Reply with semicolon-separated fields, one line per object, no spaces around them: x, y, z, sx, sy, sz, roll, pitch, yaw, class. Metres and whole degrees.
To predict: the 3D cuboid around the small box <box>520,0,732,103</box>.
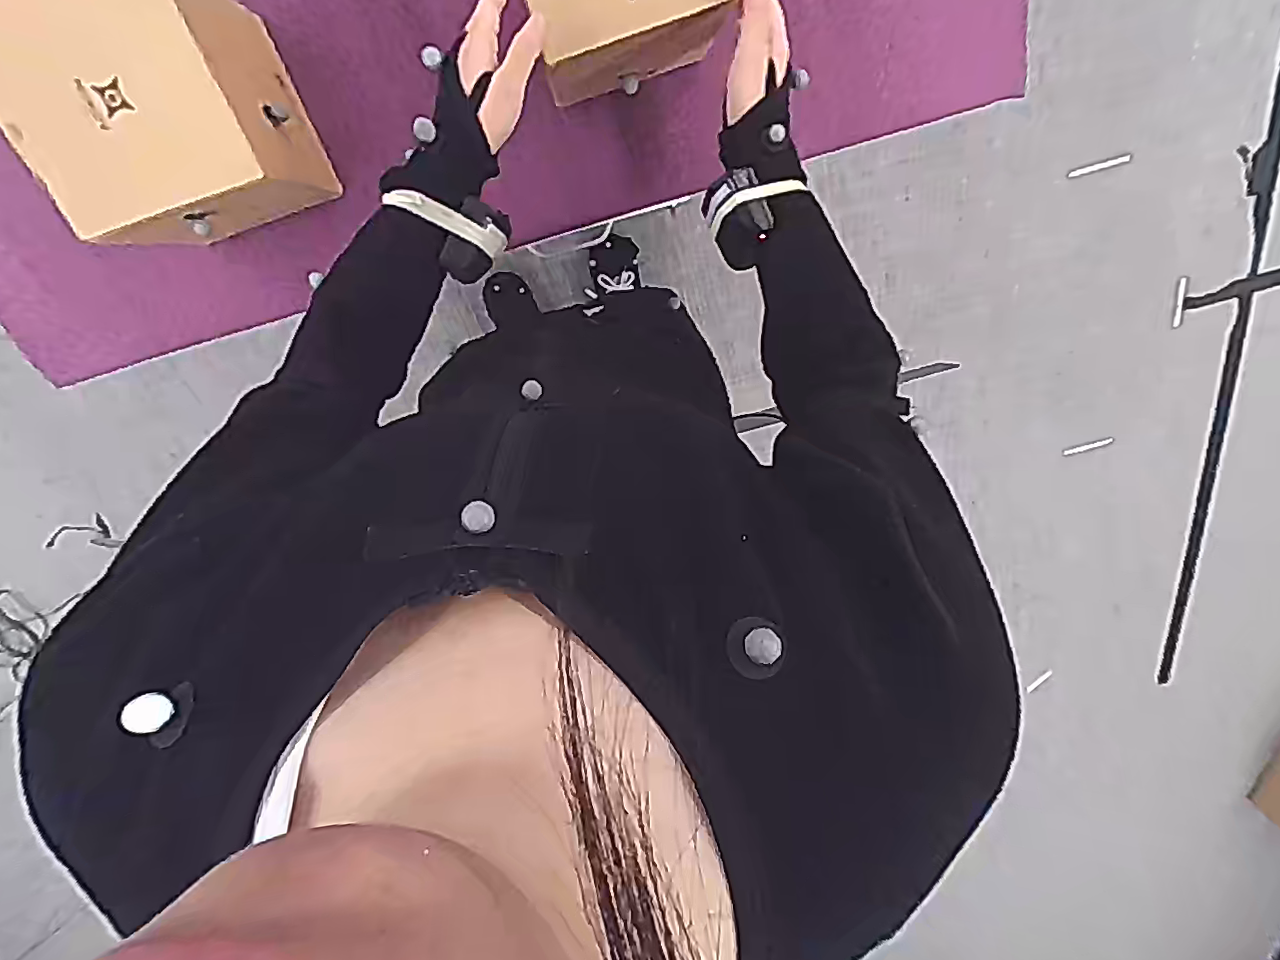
-0.033;-0.470;0.475;0.168;0.176;0.179;-17;115;3;small box

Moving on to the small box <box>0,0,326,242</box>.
-0.429;-0.334;0.500;0.179;0.176;0.168;-18;115;3;small box
